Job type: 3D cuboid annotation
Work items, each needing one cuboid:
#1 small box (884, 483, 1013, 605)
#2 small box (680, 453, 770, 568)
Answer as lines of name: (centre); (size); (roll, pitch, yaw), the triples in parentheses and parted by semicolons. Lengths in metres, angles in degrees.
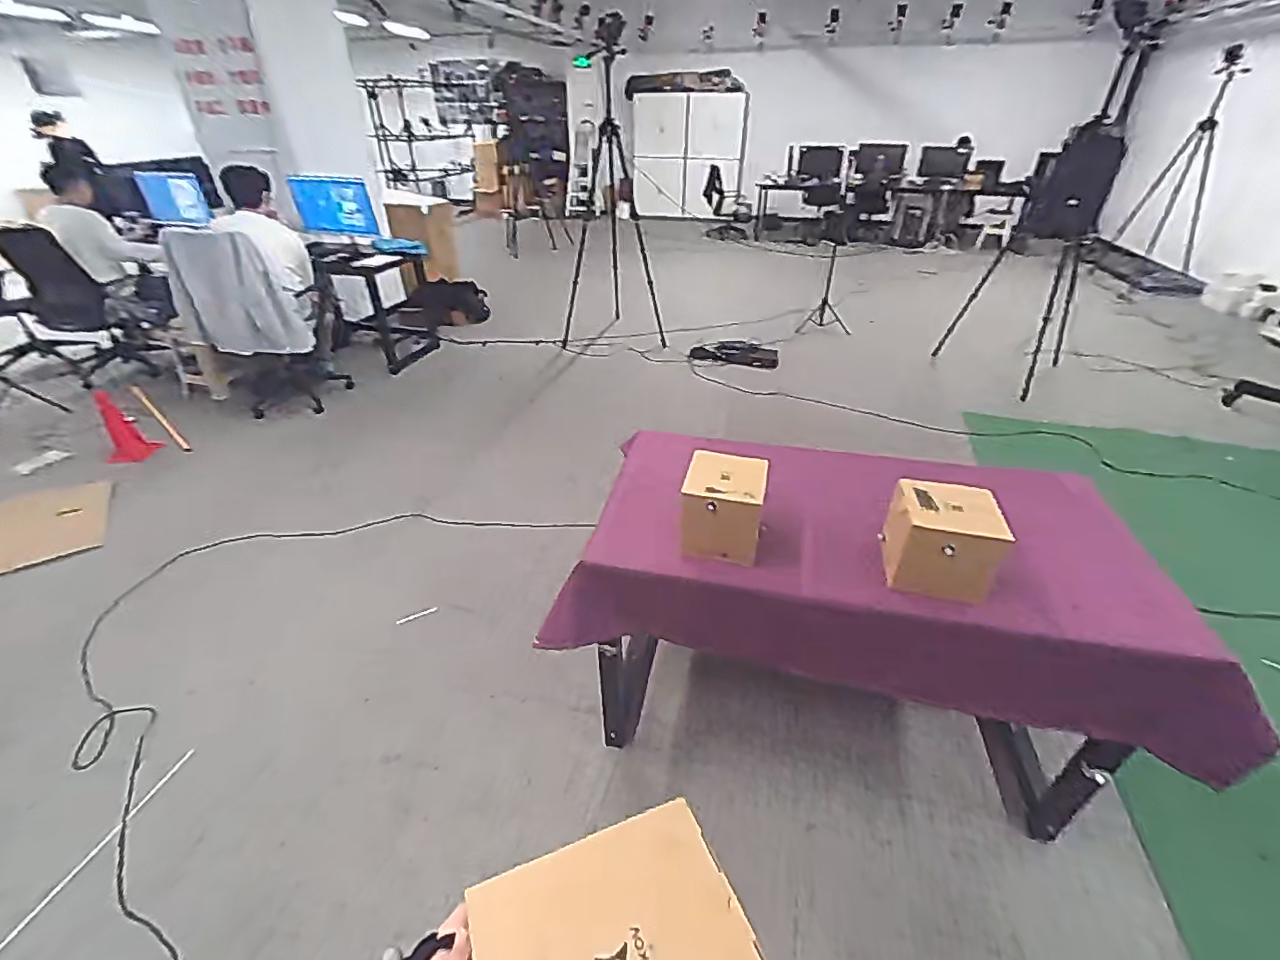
small box: (0.605, 0.128, 1.091); (0.179, 0.176, 0.168); (9, 35, 12)
small box: (0.184, 0.064, 1.185); (0.168, 0.176, 0.179); (9, 34, 13)
